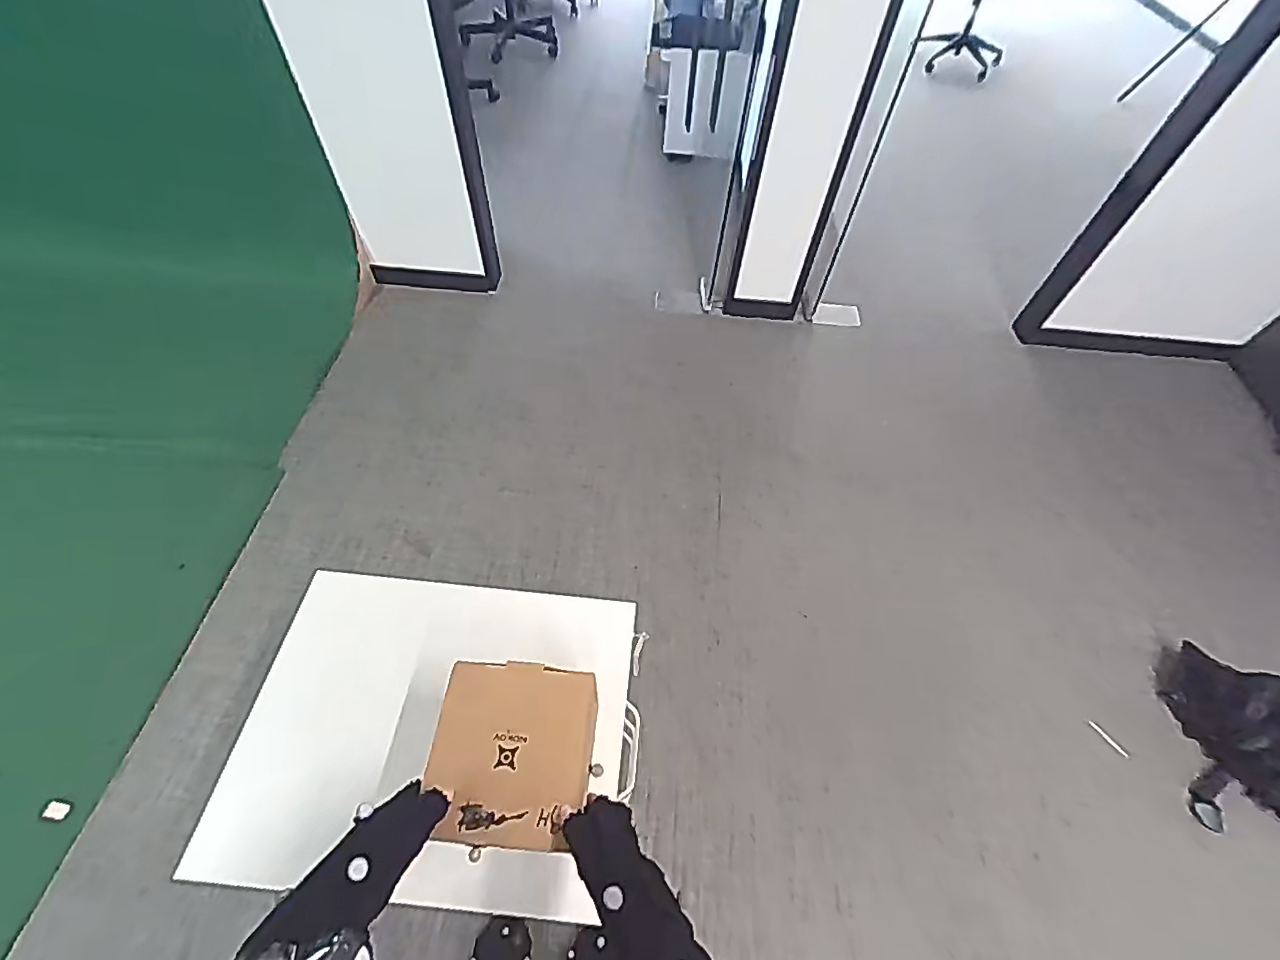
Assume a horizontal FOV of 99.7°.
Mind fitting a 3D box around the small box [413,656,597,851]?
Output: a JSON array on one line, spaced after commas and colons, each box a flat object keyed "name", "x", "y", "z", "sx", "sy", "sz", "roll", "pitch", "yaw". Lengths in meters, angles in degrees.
[{"name": "small box", "x": -0.143, "y": 0.331, "z": 0.648, "sx": 0.168, "sy": 0.176, "sz": 0.179, "roll": 5, "pitch": 55, "yaw": 1}]
